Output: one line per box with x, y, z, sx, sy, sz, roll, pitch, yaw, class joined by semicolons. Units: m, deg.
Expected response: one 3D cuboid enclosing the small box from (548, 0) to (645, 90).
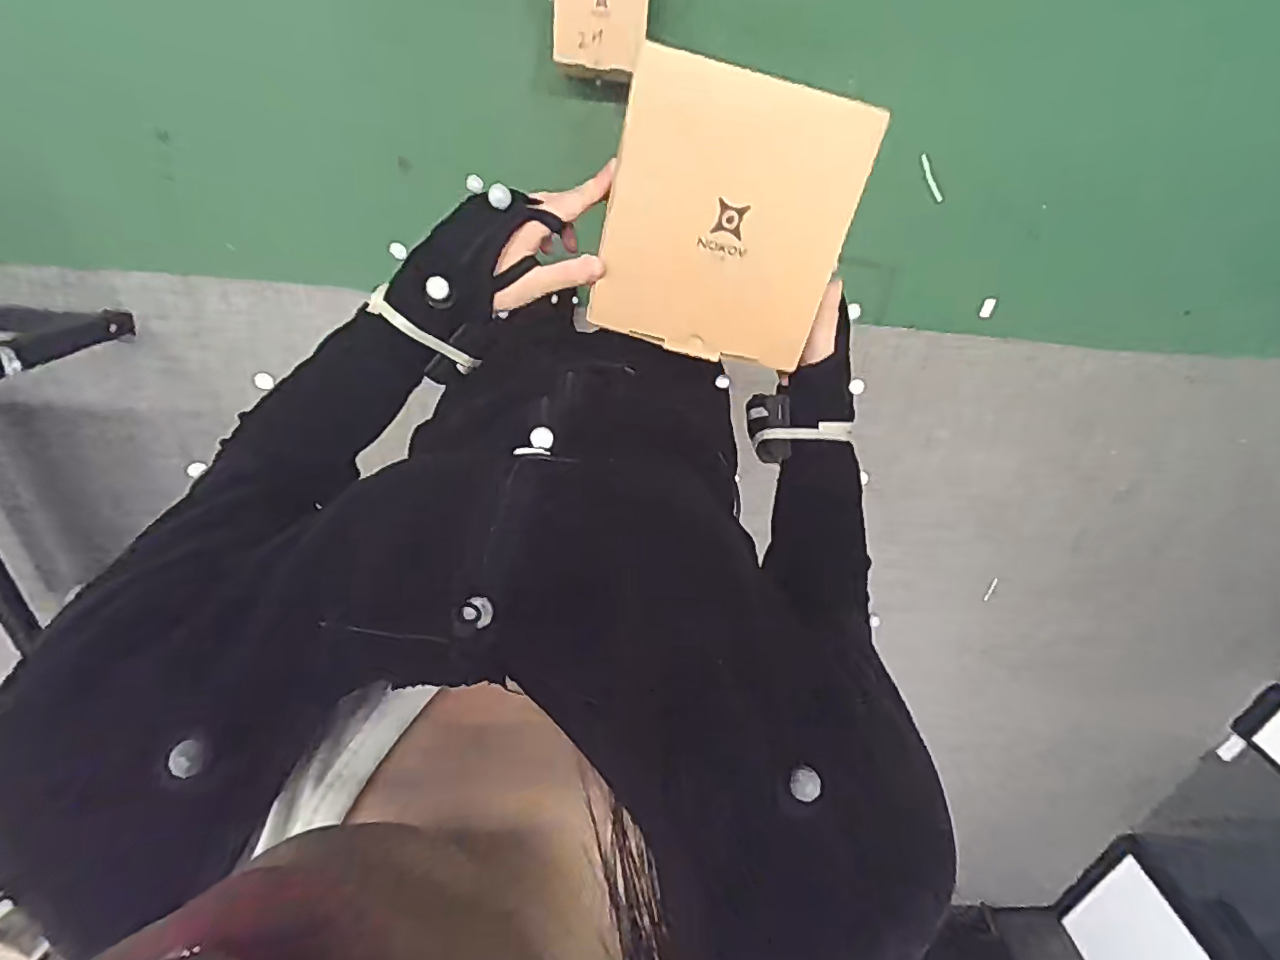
-0.081;-0.856;1.009;0.168;0.176;0.179;4;119;-6;small box
